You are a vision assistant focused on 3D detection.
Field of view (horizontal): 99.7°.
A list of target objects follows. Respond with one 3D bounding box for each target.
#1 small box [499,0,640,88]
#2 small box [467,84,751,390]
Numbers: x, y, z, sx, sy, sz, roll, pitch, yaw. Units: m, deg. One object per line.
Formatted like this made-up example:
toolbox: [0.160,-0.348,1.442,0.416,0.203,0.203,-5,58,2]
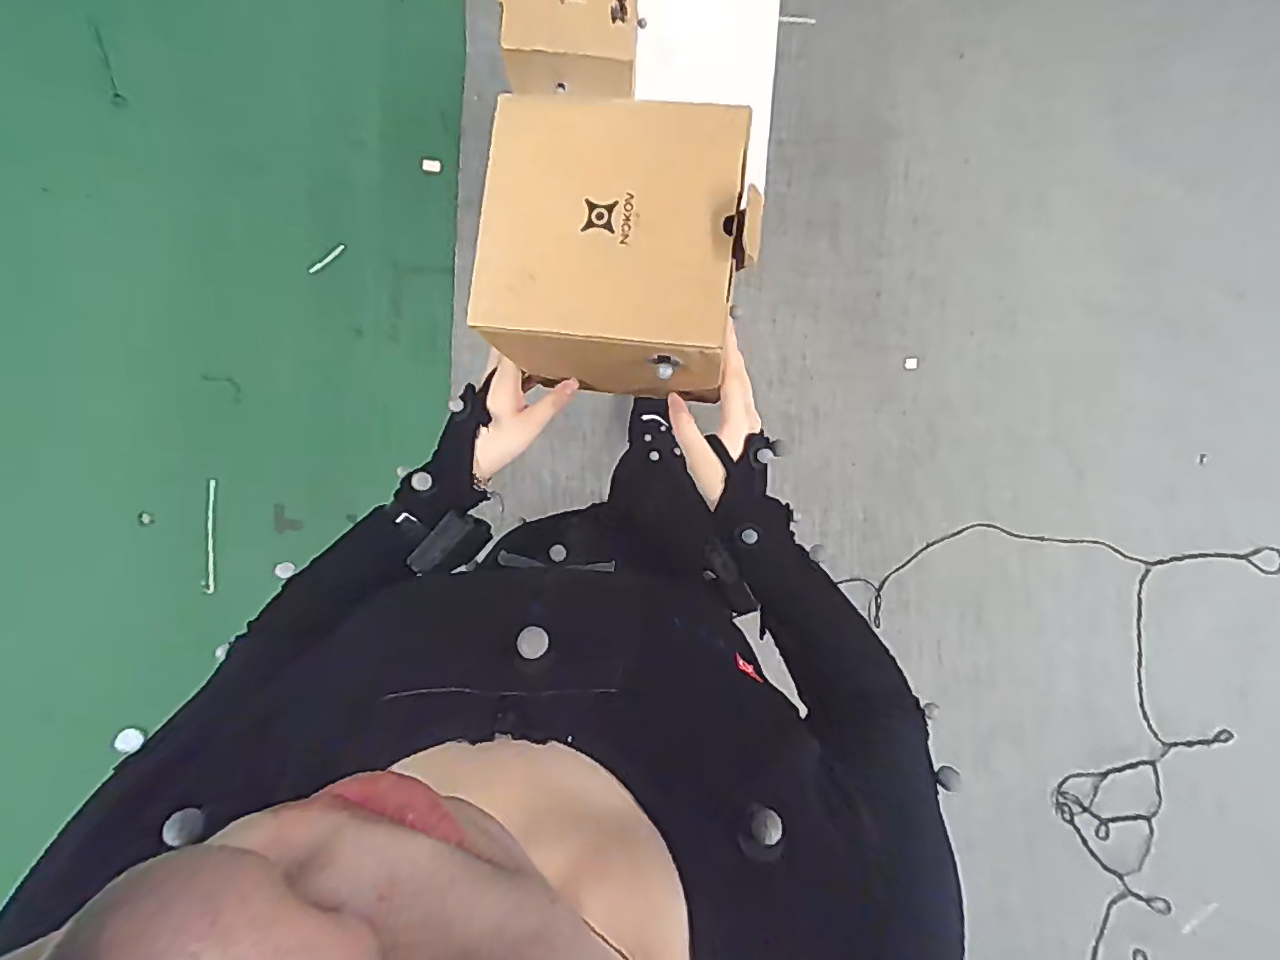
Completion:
small box: [-0.092,-0.632,0.775,0.179,0.176,0.168,4,93,-2]
small box: [-0.014,-0.176,0.439,0.179,0.176,0.168,6,86,6]
